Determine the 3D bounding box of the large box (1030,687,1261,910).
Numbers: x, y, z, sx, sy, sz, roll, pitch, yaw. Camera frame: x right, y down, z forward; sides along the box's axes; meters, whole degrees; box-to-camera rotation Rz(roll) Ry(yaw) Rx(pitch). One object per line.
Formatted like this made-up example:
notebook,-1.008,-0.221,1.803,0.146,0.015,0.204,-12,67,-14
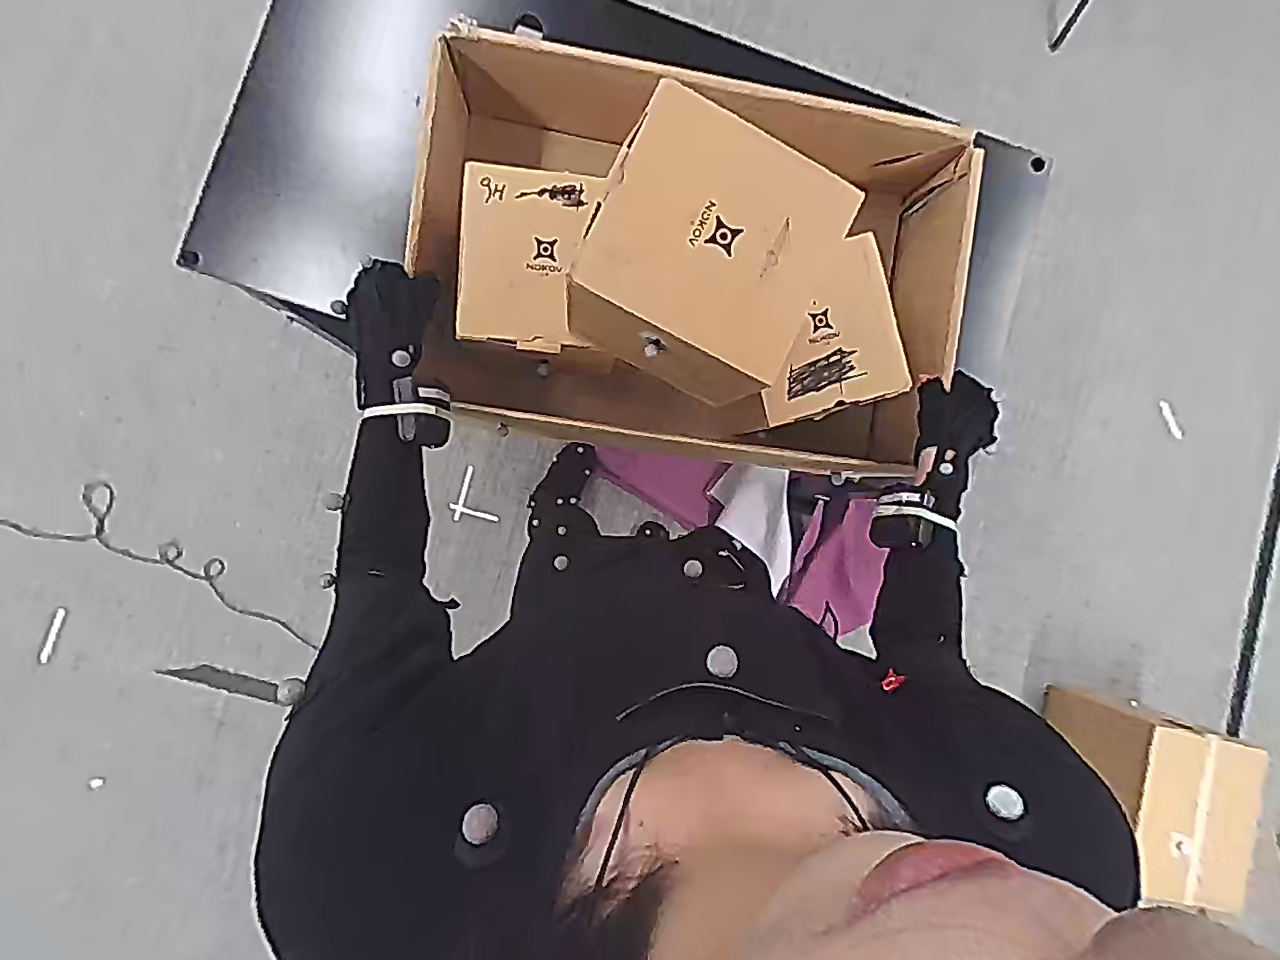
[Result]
large box,1.338,0.828,1.461,0.320,0.320,0.408,13,86,-4
